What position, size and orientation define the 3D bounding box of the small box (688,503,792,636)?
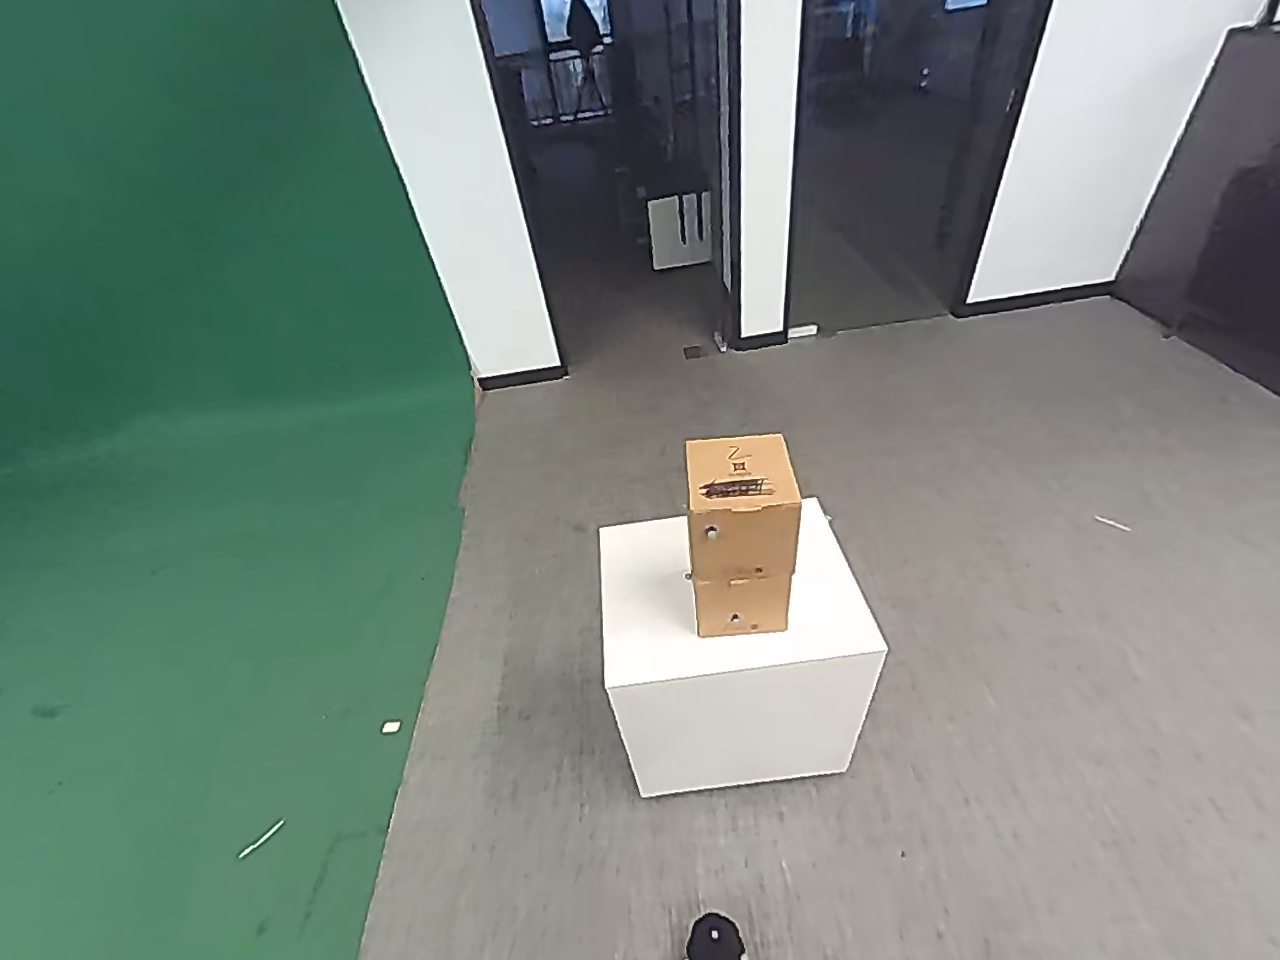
[{"bbox_3d":[0.179,0.167,1.011,0.168,0.176,0.179,-6,40,4],"label":"small box"}]
